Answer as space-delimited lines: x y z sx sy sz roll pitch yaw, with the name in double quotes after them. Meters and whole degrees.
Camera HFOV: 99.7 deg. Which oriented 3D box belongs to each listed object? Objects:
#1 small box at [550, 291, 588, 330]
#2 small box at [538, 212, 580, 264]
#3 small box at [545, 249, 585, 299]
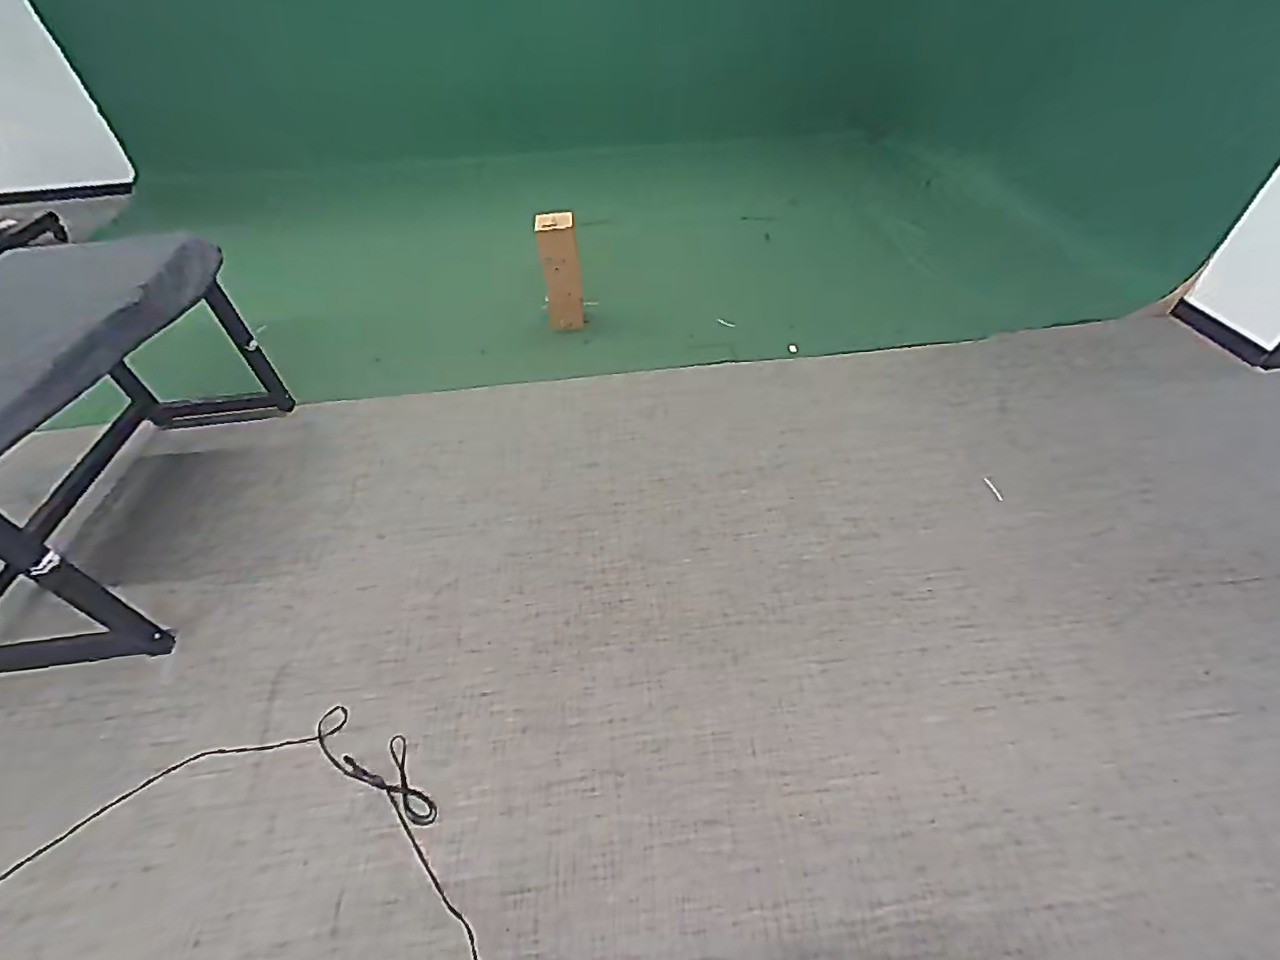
-0.355 -0.871 2.706 0.168 0.176 0.179 -6 48 -1 "small box"
-0.366 -1.099 2.470 0.168 0.176 0.179 -6 46 -1 "small box"
-0.355 -0.988 2.591 0.168 0.176 0.179 -6 46 -1 "small box"
